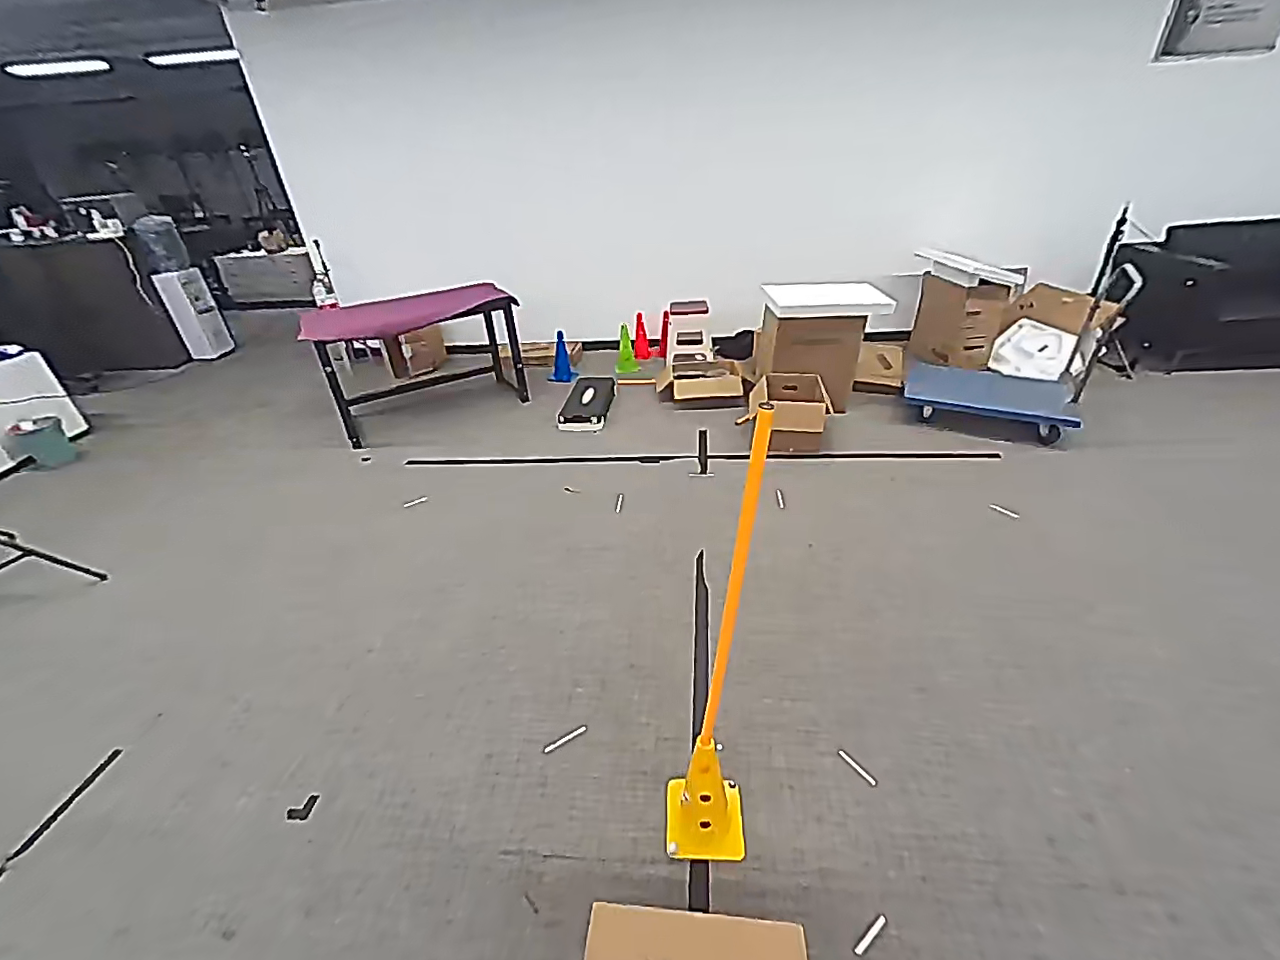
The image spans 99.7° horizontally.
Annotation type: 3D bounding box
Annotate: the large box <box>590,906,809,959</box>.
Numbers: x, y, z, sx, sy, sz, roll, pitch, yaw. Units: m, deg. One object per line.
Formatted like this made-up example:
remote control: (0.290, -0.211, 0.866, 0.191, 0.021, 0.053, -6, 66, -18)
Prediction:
large box: (0.111, 1.039, 0.985, 0.408, 0.320, 0.320, -1, 30, 7)
